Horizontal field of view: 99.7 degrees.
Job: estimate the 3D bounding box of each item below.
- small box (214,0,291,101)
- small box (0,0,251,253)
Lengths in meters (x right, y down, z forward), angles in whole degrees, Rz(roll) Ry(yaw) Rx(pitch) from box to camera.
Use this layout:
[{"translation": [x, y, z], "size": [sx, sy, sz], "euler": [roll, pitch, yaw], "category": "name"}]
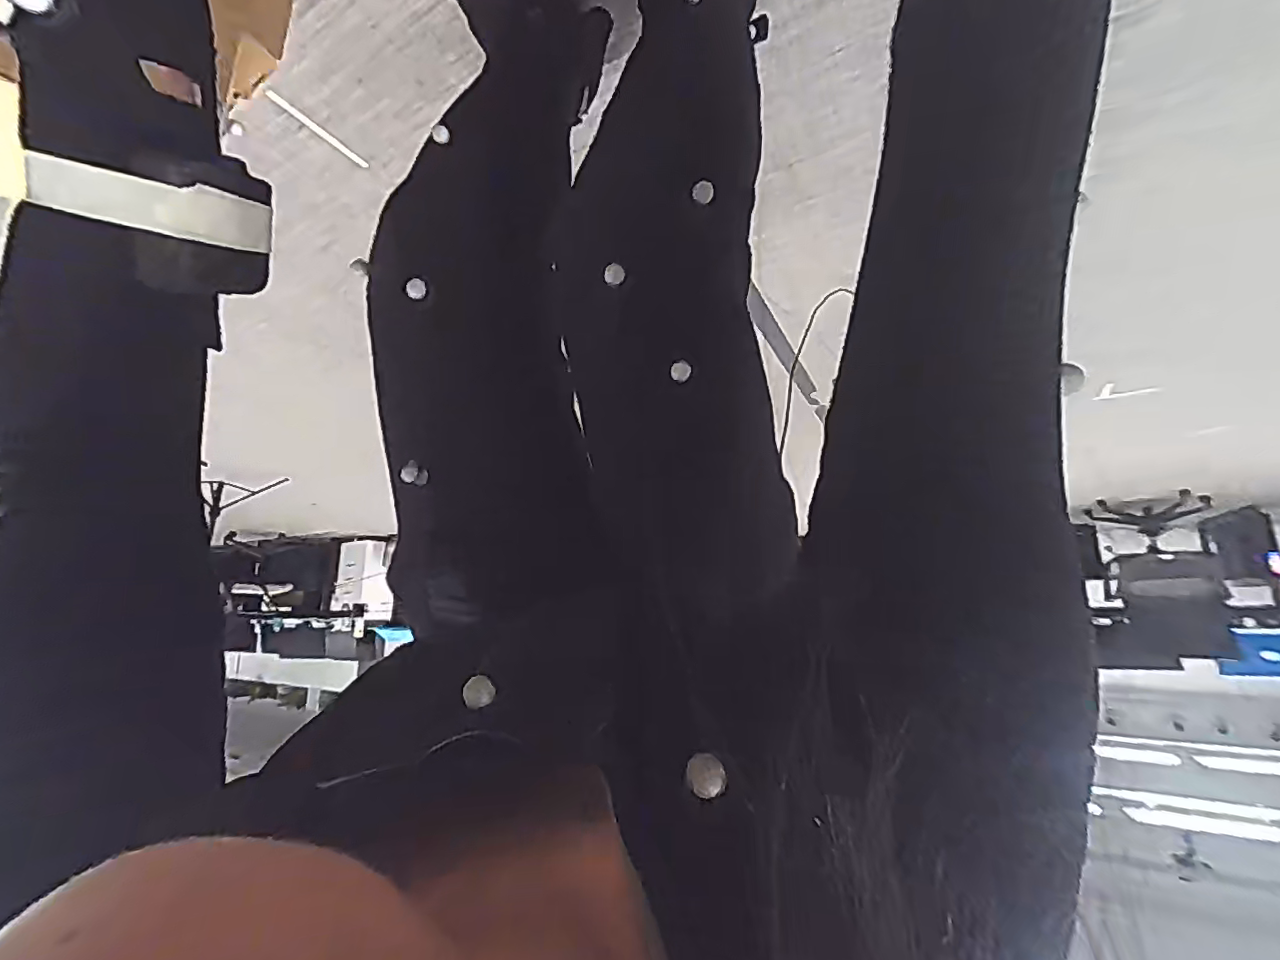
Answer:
[{"translation": [-0.462, -0.502, 0.521], "size": [0.168, 0.176, 0.179], "euler": [-8, 164, 30], "category": "small box"}, {"translation": [-0.472, -0.343, 0.475], "size": [0.168, 0.176, 0.179], "euler": [-11, 165, 43], "category": "small box"}]
